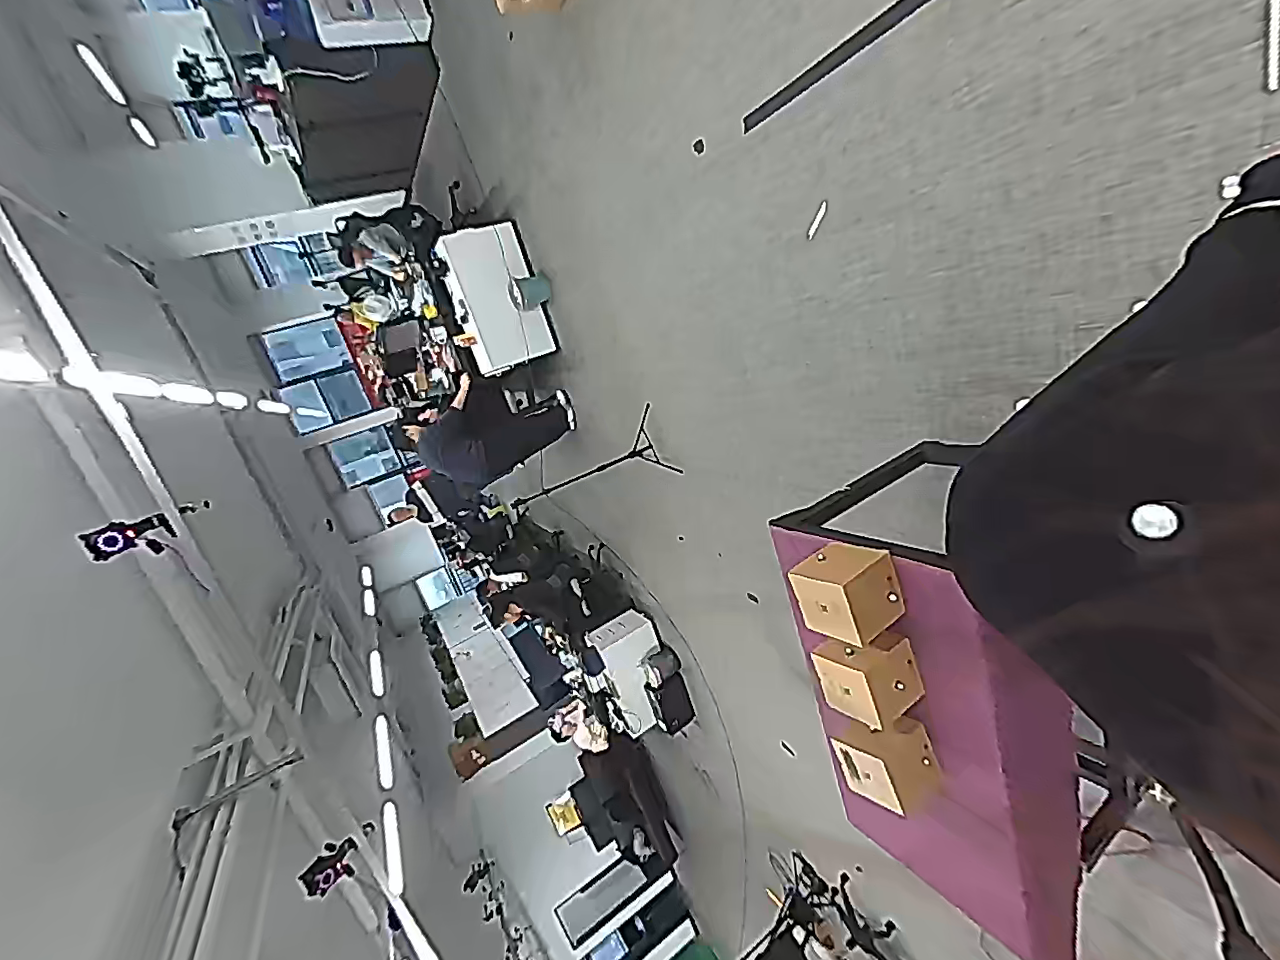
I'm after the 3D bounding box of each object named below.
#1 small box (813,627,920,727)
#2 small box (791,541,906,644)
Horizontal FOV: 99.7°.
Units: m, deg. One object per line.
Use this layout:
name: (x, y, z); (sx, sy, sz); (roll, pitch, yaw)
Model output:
small box: (0.582, 0.483, 1.376); (0.179, 0.176, 0.168); (1, 114, 65)
small box: (0.506, 0.264, 1.315); (0.179, 0.176, 0.168); (5, 120, 64)
